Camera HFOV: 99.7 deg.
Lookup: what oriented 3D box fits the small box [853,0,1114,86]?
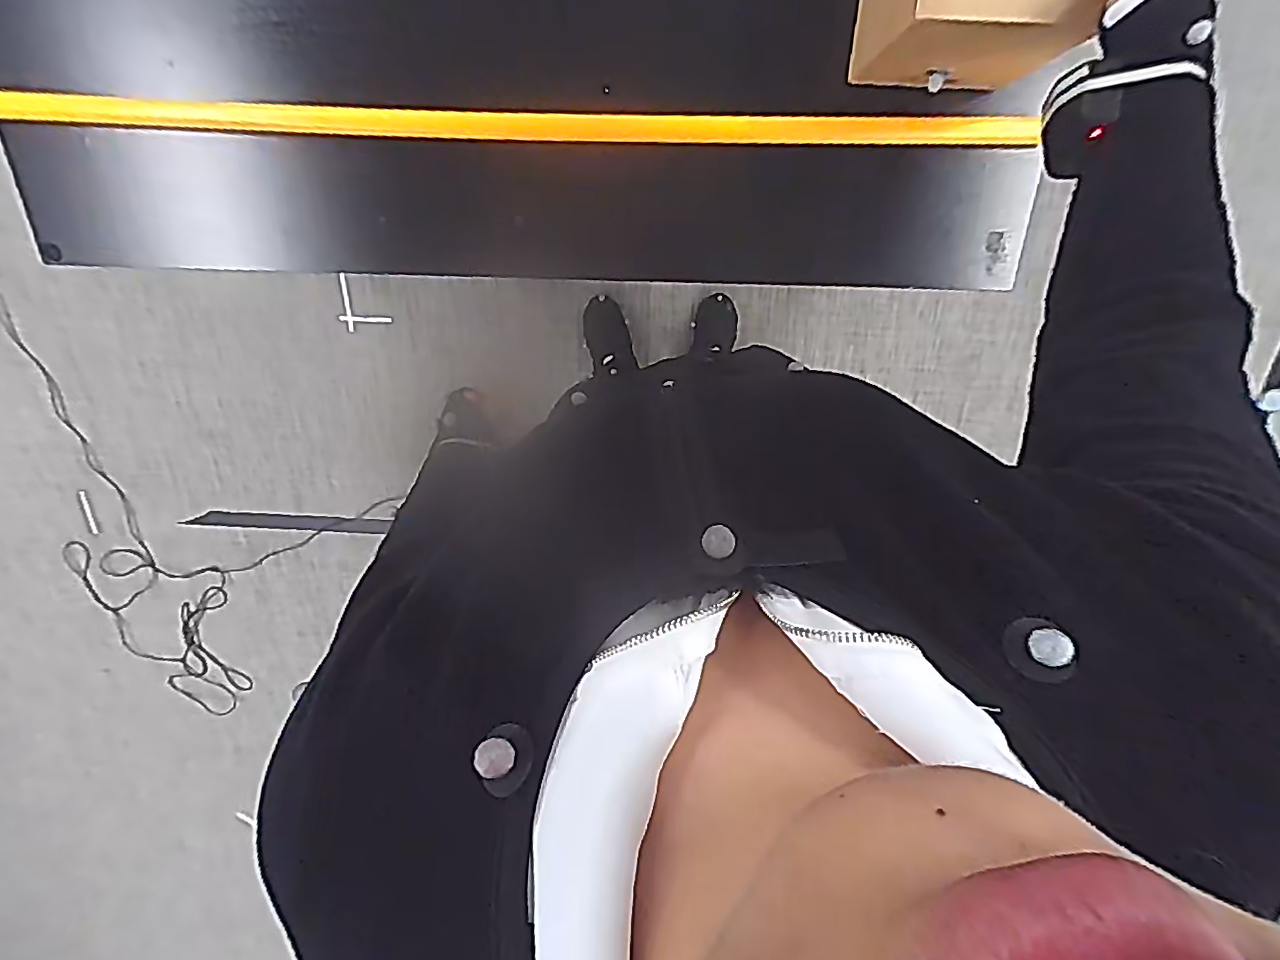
[{"bbox_3d":[0.313,-0.494,0.492,0.168,0.176,0.179,3,111,0],"label":"small box"}]
